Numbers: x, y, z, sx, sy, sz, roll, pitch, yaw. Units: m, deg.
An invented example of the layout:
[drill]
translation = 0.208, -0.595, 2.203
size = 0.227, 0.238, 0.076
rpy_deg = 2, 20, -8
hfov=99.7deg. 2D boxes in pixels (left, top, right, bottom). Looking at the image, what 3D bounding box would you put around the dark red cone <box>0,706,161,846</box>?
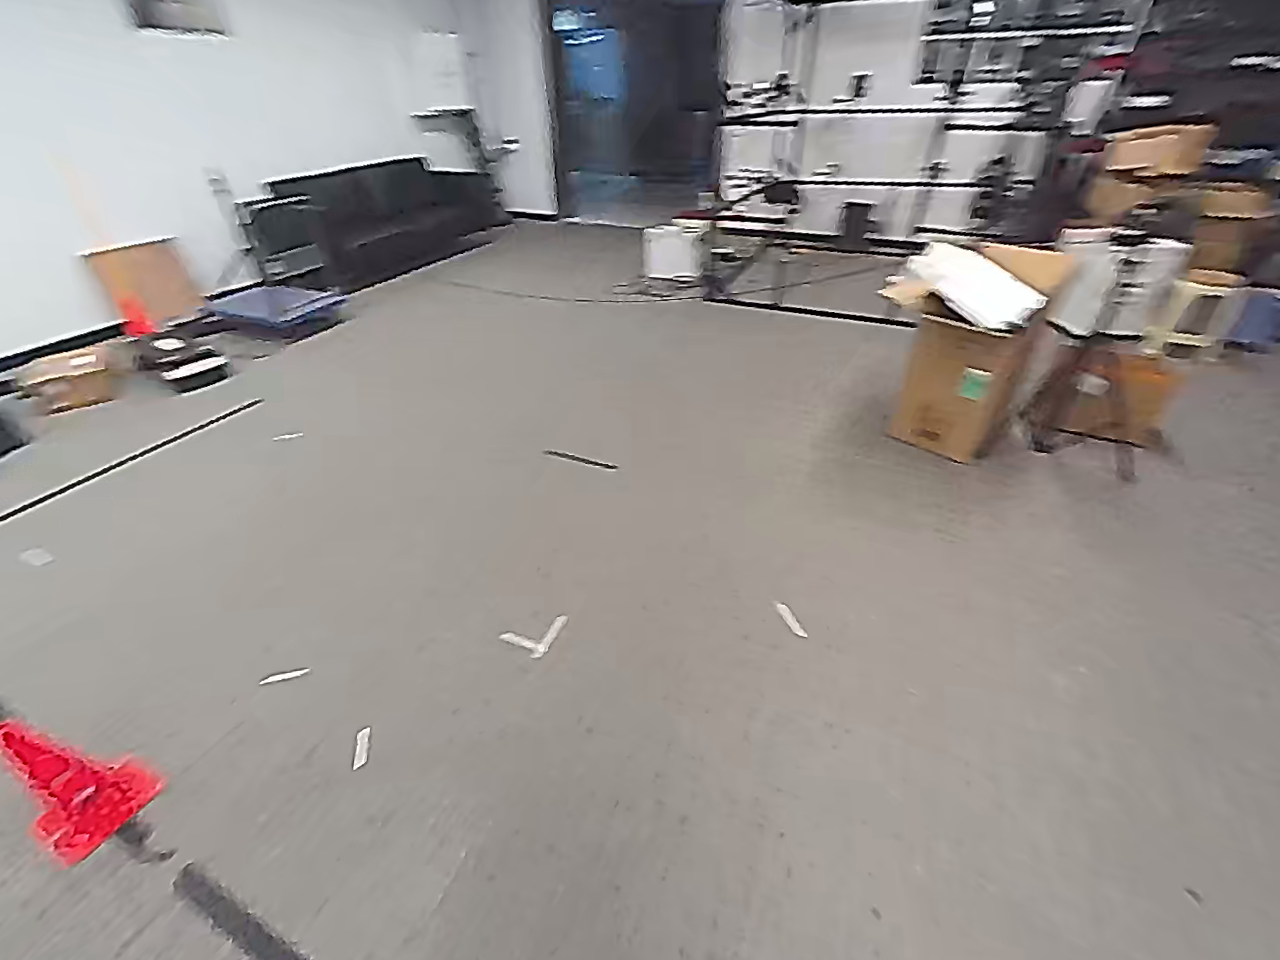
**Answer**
[dark red cone]
translation = -1.334, 0.636, 1.235
size = 0.202, 0.394, 0.201
rpy_deg = 15, 40, 20
